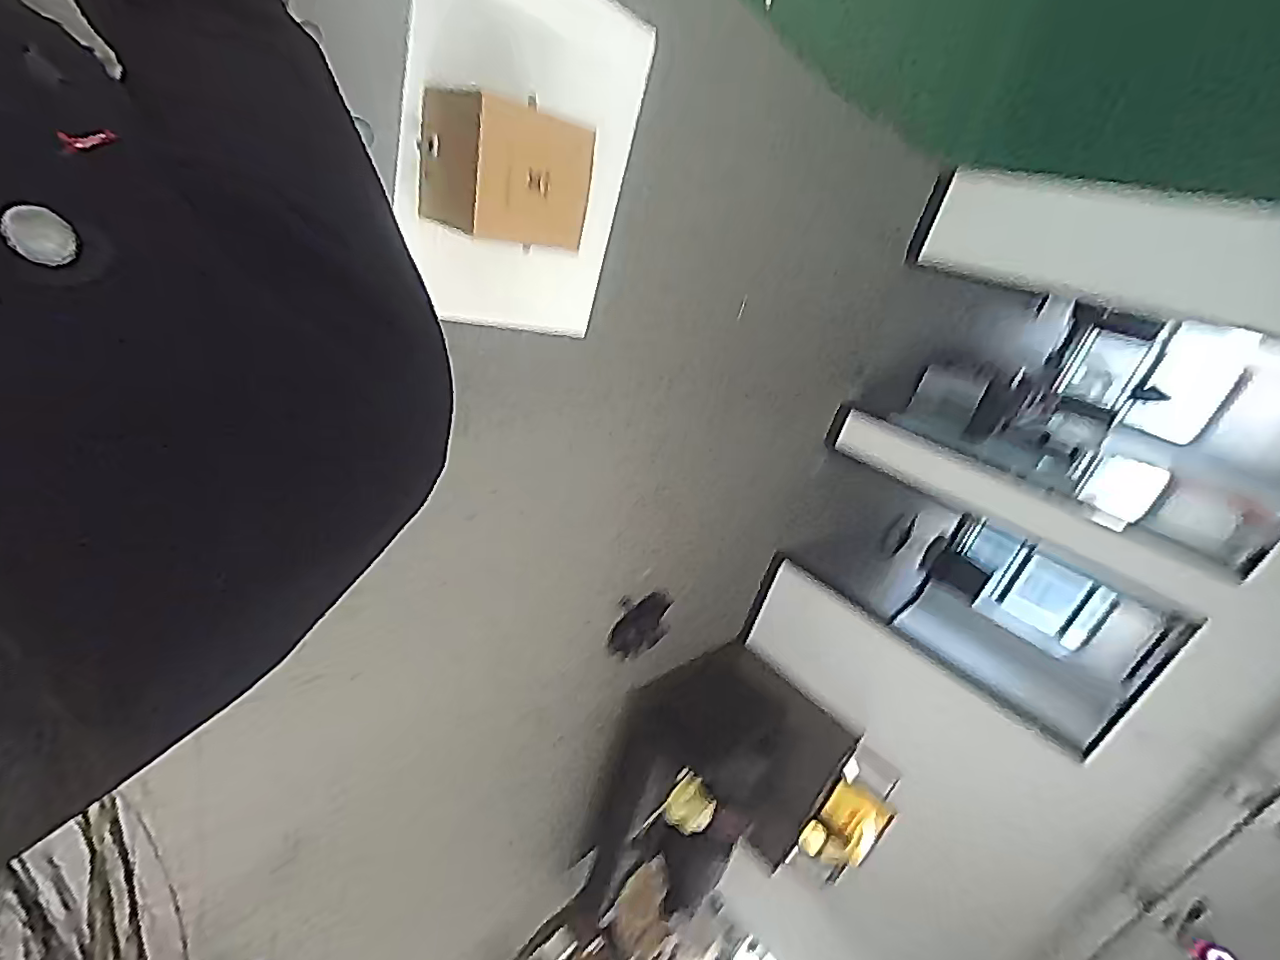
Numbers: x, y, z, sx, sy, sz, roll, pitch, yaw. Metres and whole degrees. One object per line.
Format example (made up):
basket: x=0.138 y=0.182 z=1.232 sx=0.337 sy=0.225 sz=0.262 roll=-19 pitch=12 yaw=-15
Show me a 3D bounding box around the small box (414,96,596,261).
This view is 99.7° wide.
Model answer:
small box: x=-0.191 y=-0.416 z=0.752 sx=0.179 sy=0.176 sz=0.168 roll=-13 pitch=126 yaw=-42
